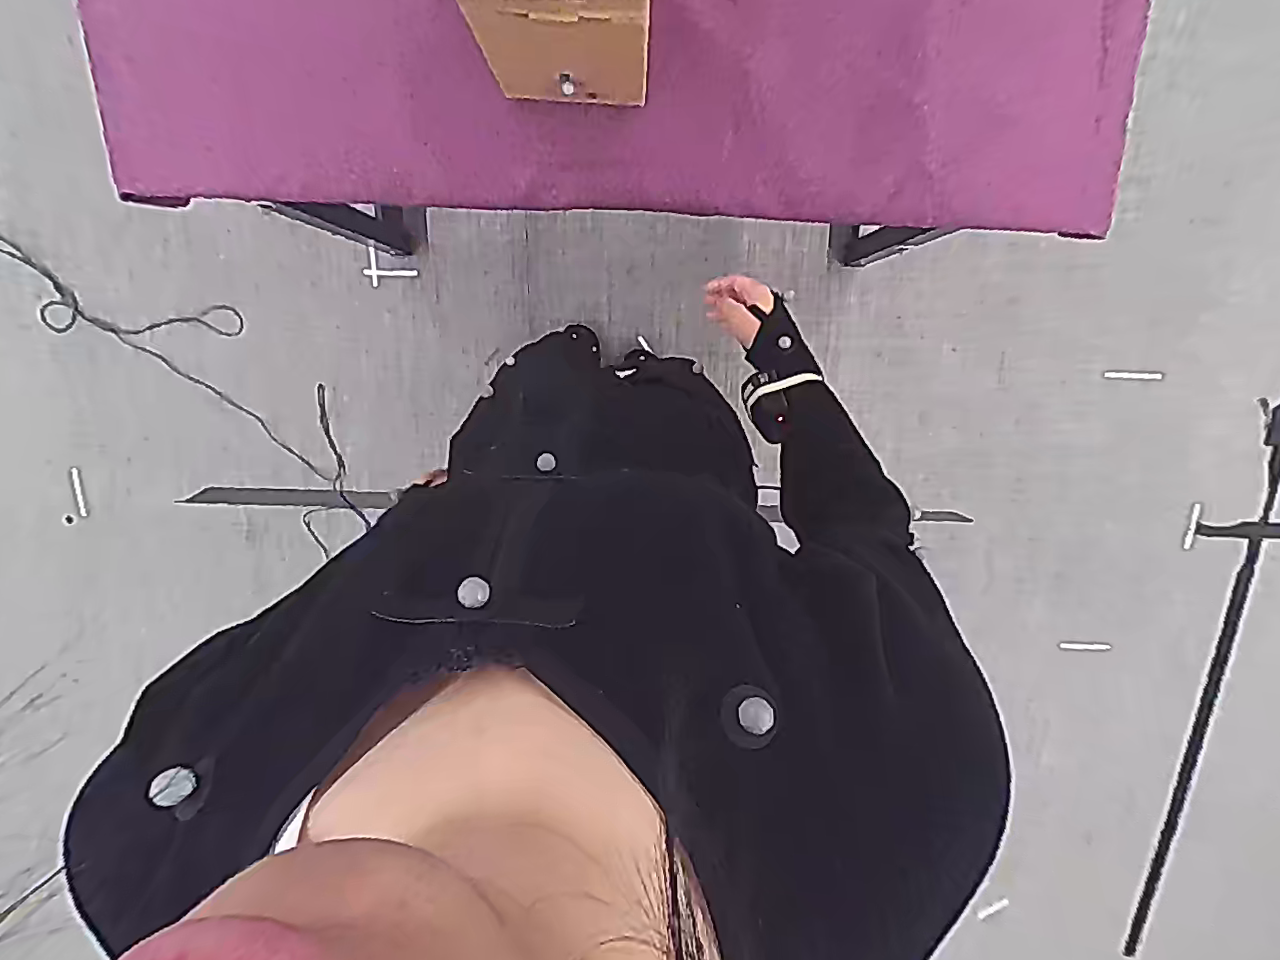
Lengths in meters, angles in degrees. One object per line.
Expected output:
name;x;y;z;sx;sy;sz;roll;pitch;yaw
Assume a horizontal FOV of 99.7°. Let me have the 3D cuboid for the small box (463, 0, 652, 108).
small box;-0.071;-0.511;0.539;0.168;0.176;0.179;3;103;-1
